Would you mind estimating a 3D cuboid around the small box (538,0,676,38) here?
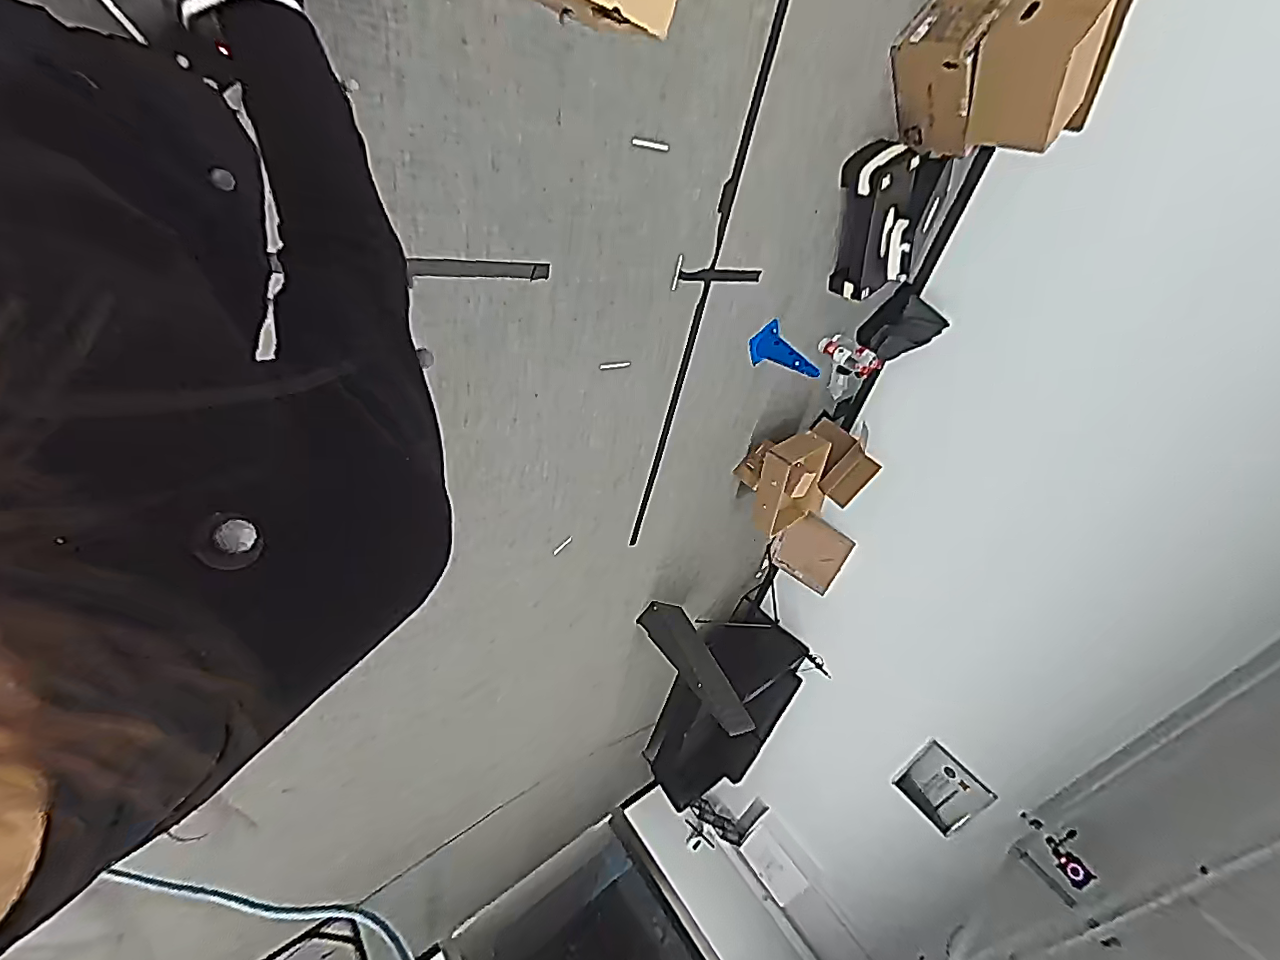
[{"bbox_3d":[-0.052,-0.671,0.645,0.168,0.176,0.179,-11,132,-40],"label":"small box"}]
